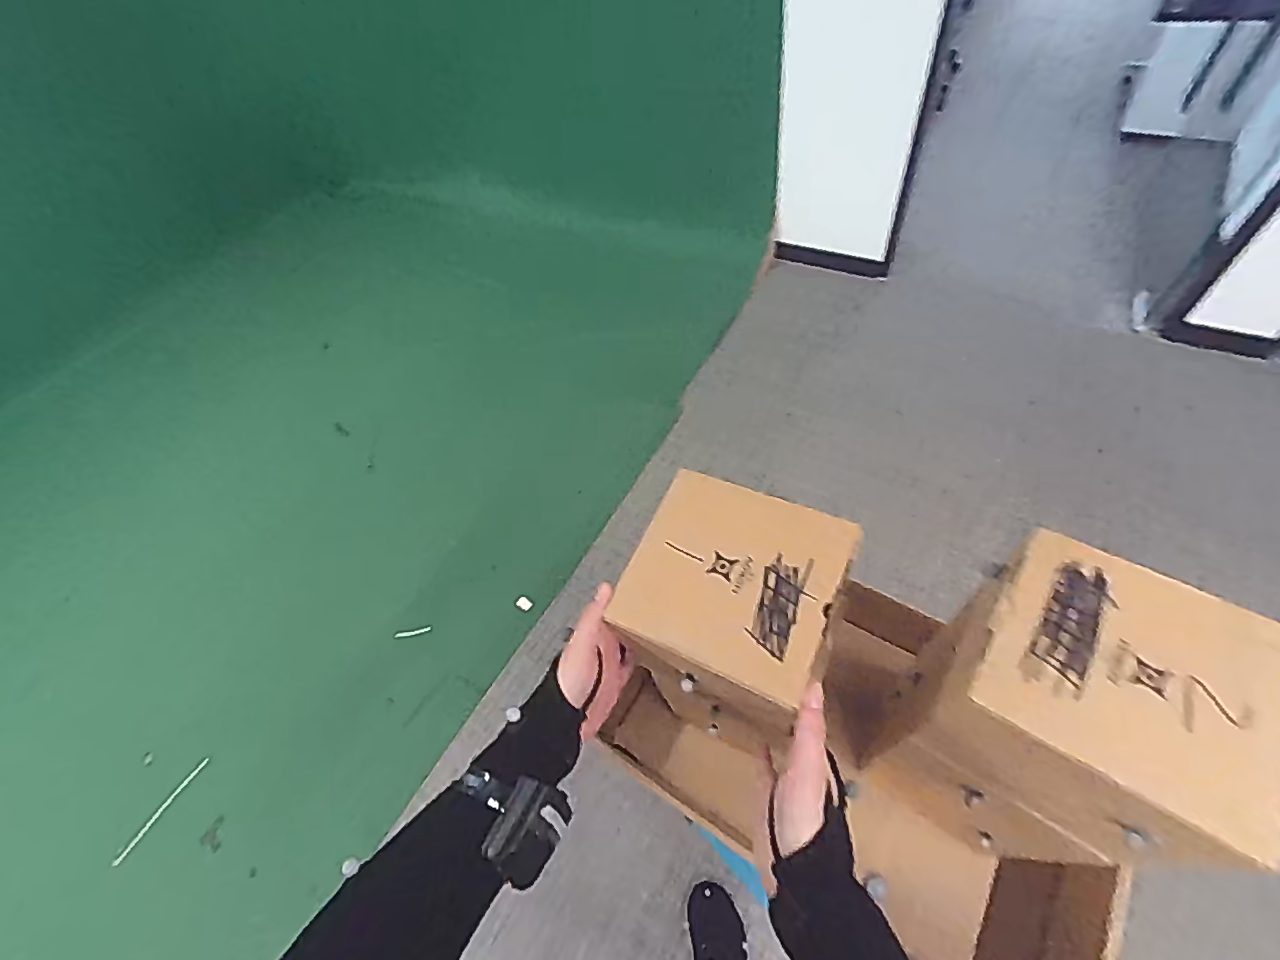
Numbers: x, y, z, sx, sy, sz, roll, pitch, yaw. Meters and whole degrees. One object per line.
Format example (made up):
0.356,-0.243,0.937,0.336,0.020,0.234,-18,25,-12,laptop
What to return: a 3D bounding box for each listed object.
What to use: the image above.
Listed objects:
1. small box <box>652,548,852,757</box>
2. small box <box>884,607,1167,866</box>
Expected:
0.135,0.217,0.665,0.179,0.176,0.168,21,63,21,small box
0.389,0.272,0.578,0.179,0.176,0.168,29,67,26,small box
